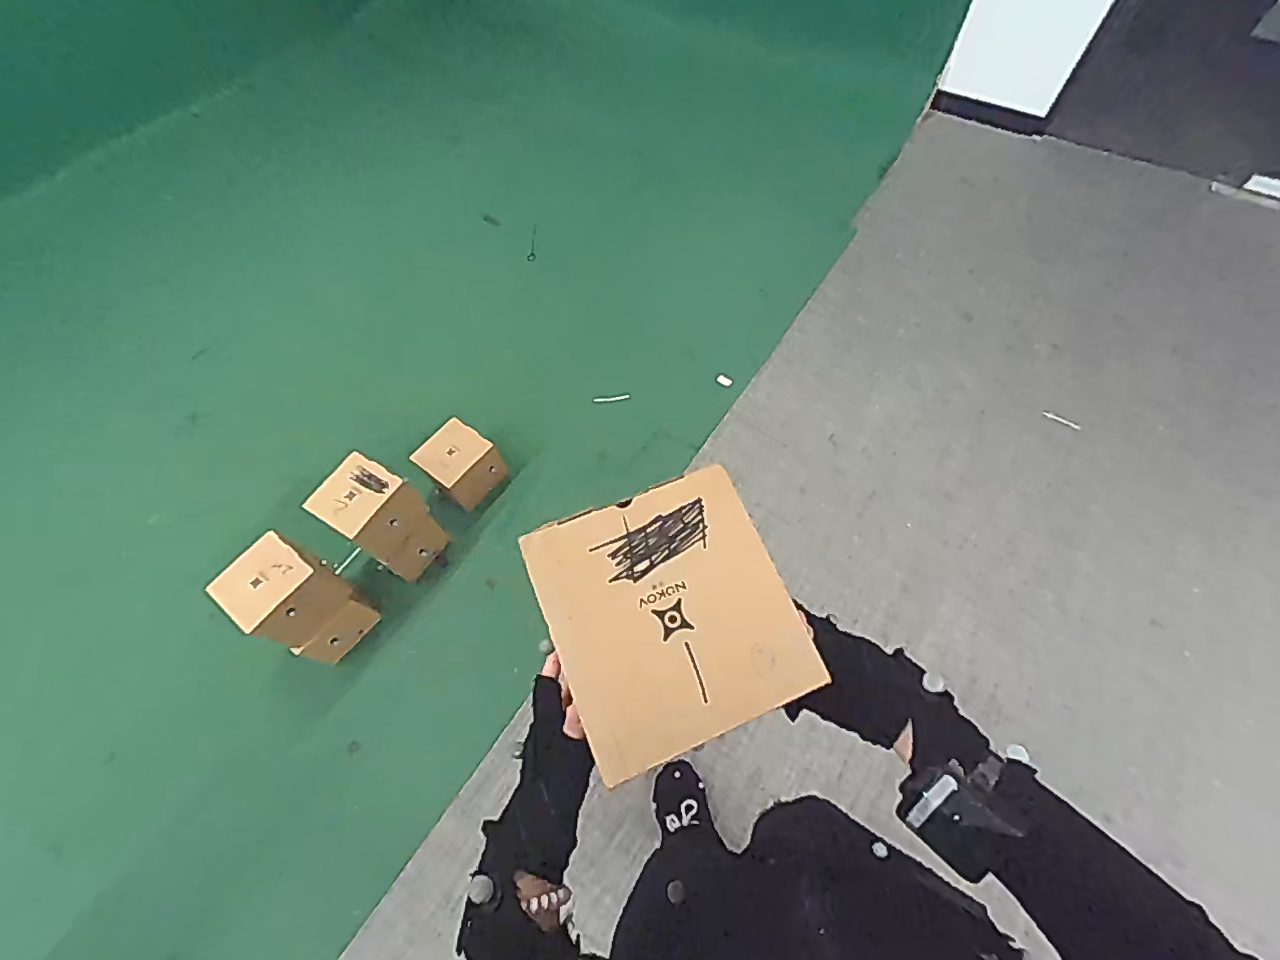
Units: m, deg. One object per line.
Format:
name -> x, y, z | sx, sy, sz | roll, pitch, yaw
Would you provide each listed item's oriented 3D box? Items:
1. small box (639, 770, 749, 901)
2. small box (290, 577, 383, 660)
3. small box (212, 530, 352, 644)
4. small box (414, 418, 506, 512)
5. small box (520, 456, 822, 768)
small box -> 0.114, 0.749, 1.158 | 0.179, 0.176, 0.168 | 16, 75, 28
small box -> -0.805, 0.343, 1.389 | 0.179, 0.176, 0.168 | 35, 69, 19
small box -> -0.815, 0.254, 1.249 | 0.168, 0.176, 0.179 | 34, 69, 19
small box -> -0.515, -0.040, 1.580 | 0.168, 0.176, 0.179 | 34, 69, 19
small box -> 0.013, 0.111, 0.451 | 0.168, 0.176, 0.179 | -20, 71, -10
